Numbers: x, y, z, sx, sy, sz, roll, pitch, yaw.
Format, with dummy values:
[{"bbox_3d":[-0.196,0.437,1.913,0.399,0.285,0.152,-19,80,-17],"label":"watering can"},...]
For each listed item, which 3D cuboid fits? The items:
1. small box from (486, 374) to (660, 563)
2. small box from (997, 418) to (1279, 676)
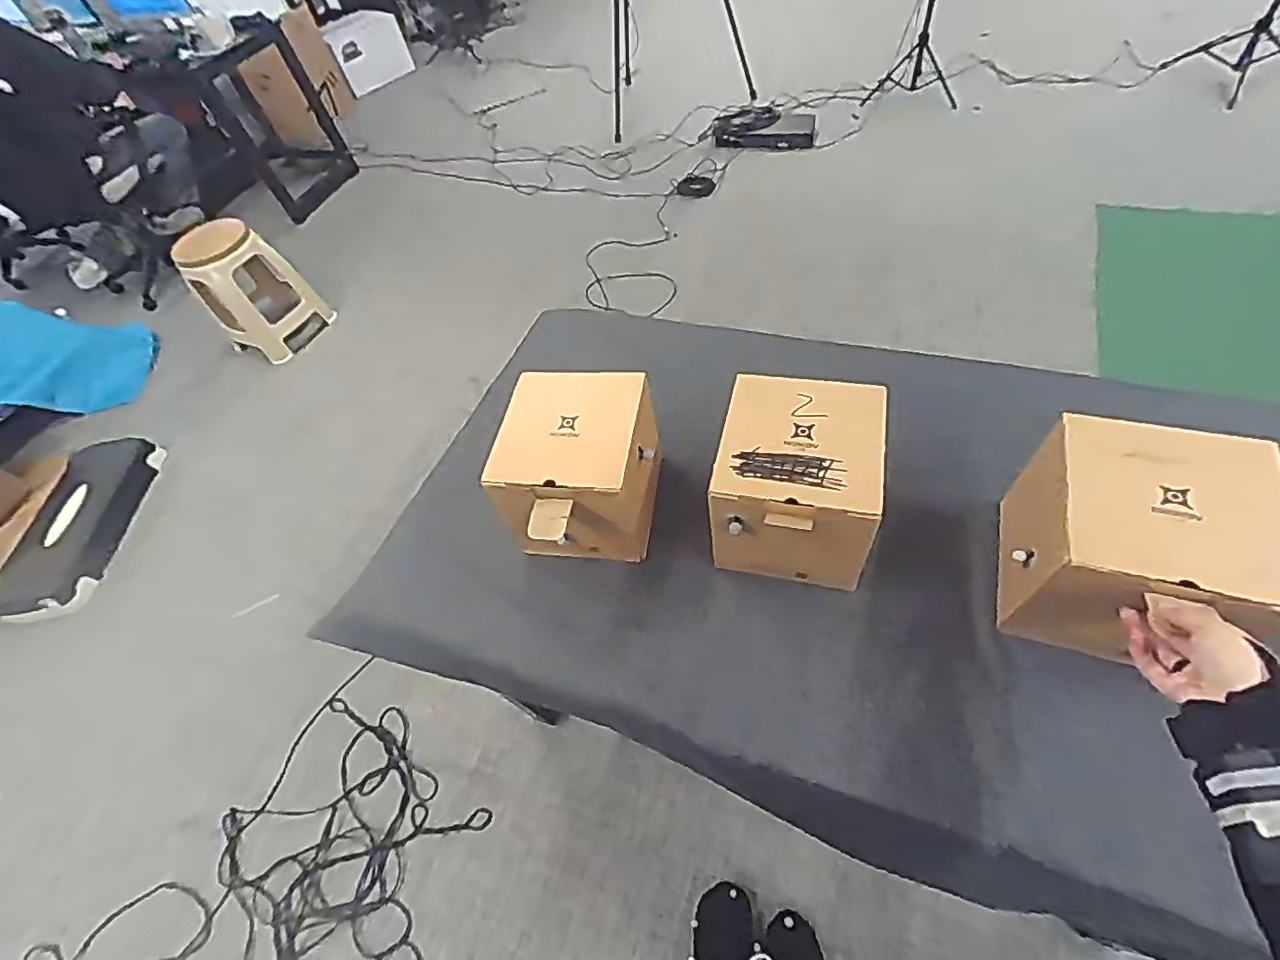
[{"bbox_3d":[-0.070,-0.014,0.694,0.168,0.176,0.179,3,56,12],"label":"small box"},{"bbox_3d":[0.478,0.069,0.535,0.168,0.176,0.179,14,57,18],"label":"small box"}]
